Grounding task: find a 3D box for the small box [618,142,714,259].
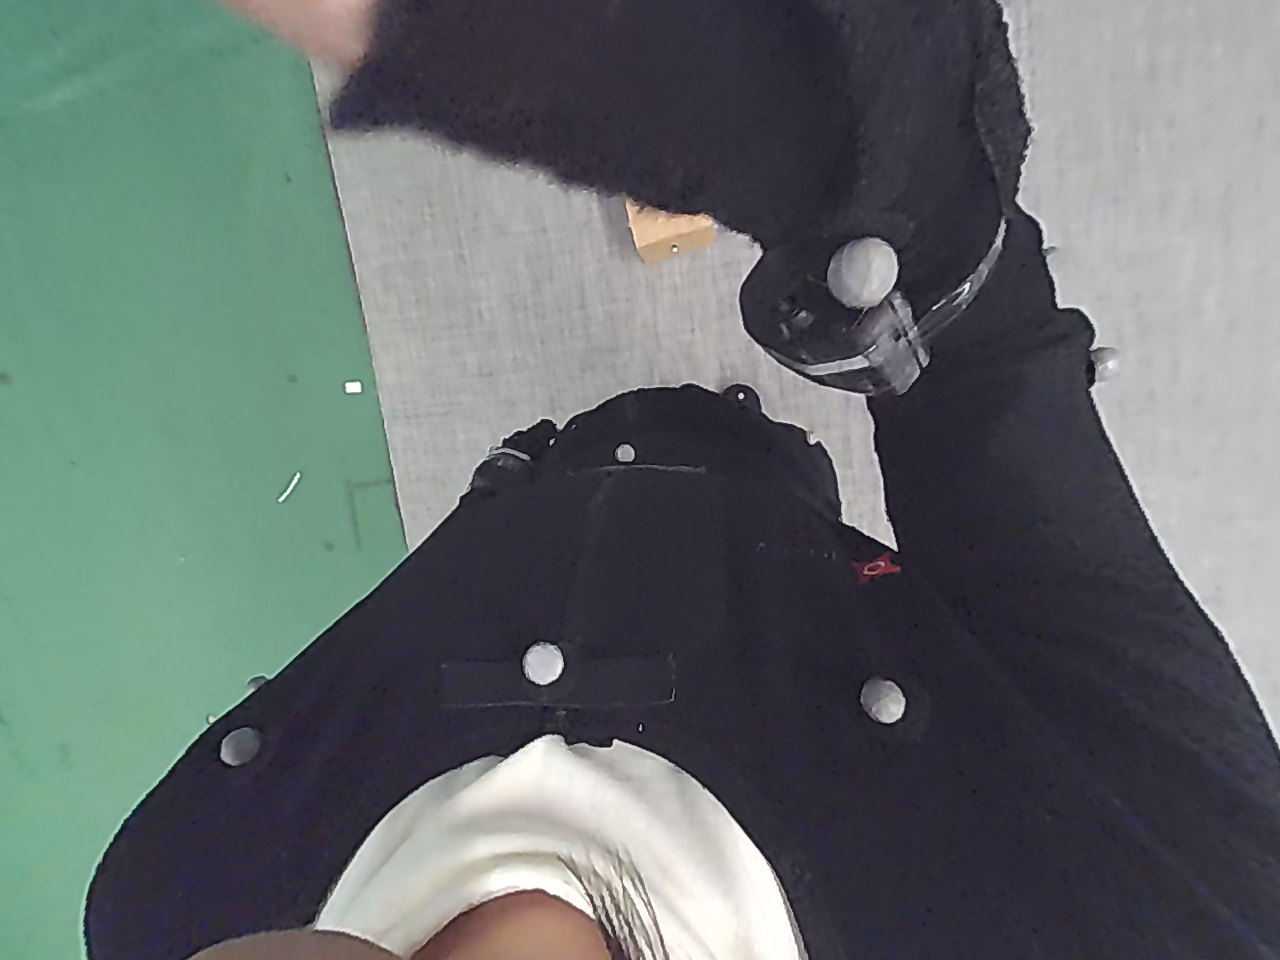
[{"bbox_3d":[0.065,-0.631,1.245,0.179,0.176,0.168,-16,97,10],"label":"small box"}]
